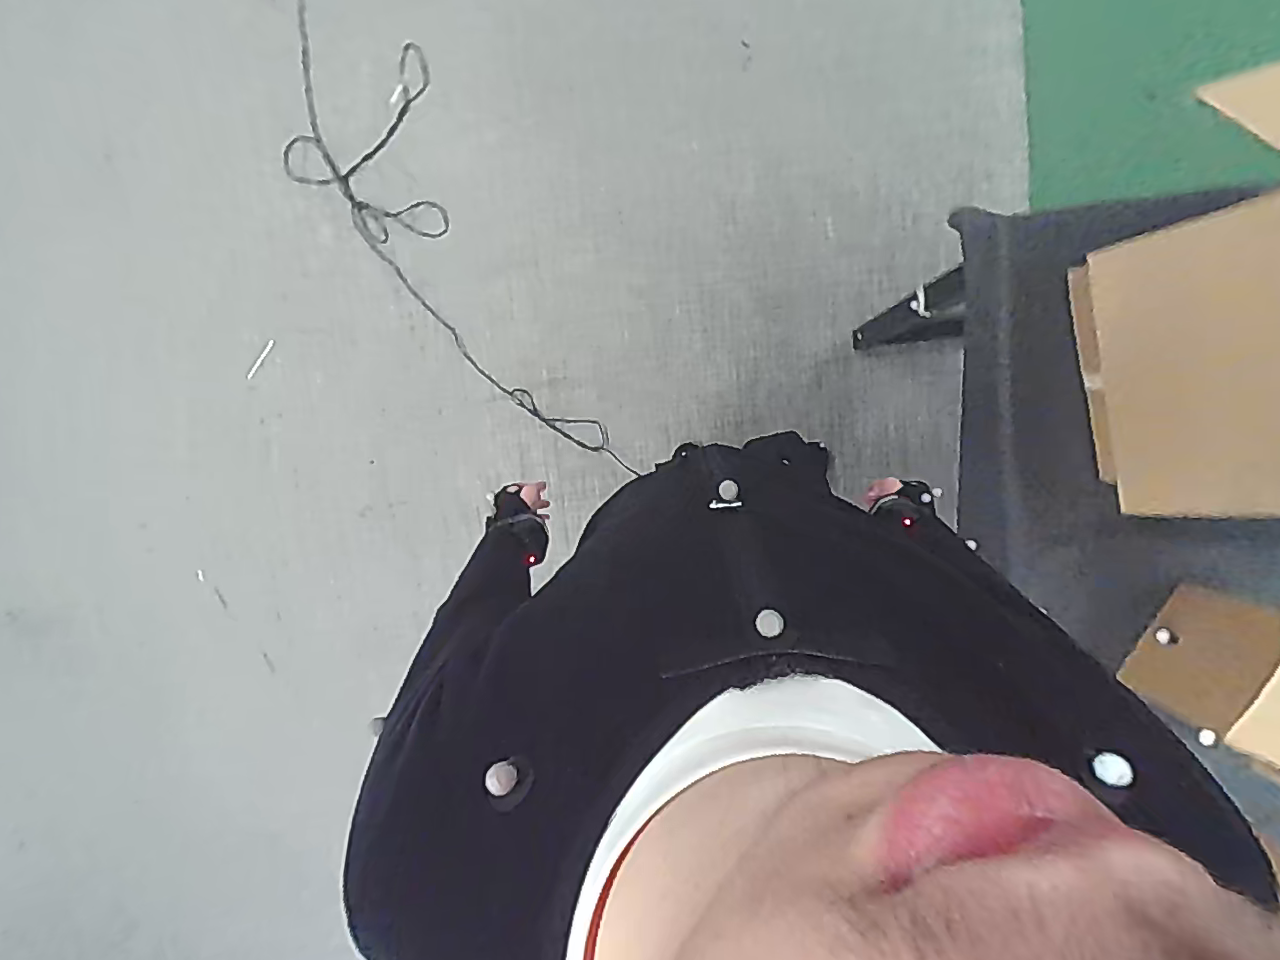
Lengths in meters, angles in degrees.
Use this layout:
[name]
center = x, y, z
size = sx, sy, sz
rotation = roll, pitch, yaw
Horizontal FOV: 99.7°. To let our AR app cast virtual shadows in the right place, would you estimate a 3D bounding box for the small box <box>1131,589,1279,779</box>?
[small box]
center = 0.815, 0.273, 0.711
size = 0.168, 0.176, 0.179
rotation = 30, 97, 3
